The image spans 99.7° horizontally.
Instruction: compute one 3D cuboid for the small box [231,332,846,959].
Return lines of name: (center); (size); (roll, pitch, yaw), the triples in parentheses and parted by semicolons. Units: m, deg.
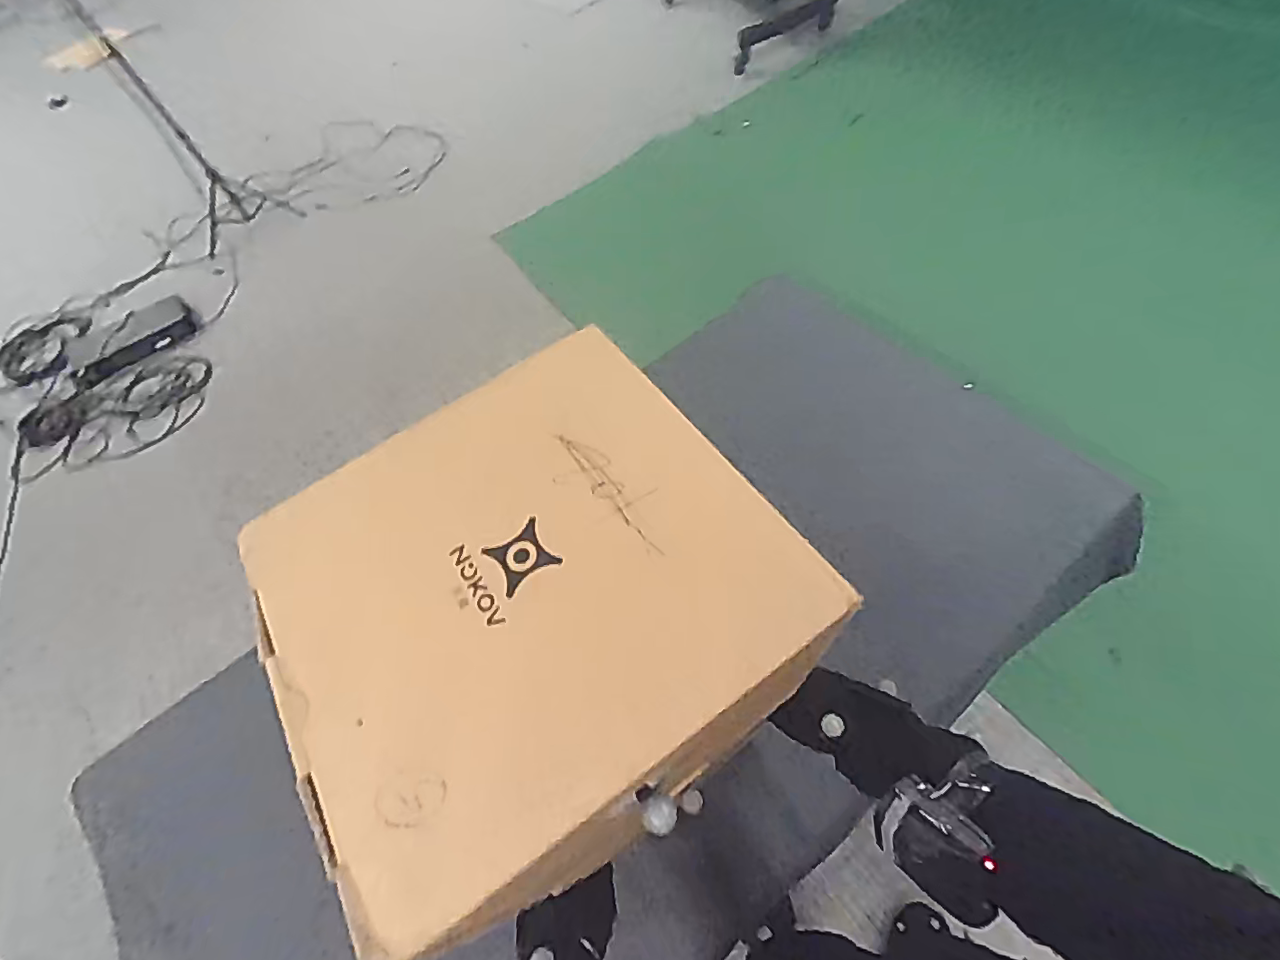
small box: (-0.037, 0.072, 0.260); (0.179, 0.176, 0.168); (-34, 62, -13)
